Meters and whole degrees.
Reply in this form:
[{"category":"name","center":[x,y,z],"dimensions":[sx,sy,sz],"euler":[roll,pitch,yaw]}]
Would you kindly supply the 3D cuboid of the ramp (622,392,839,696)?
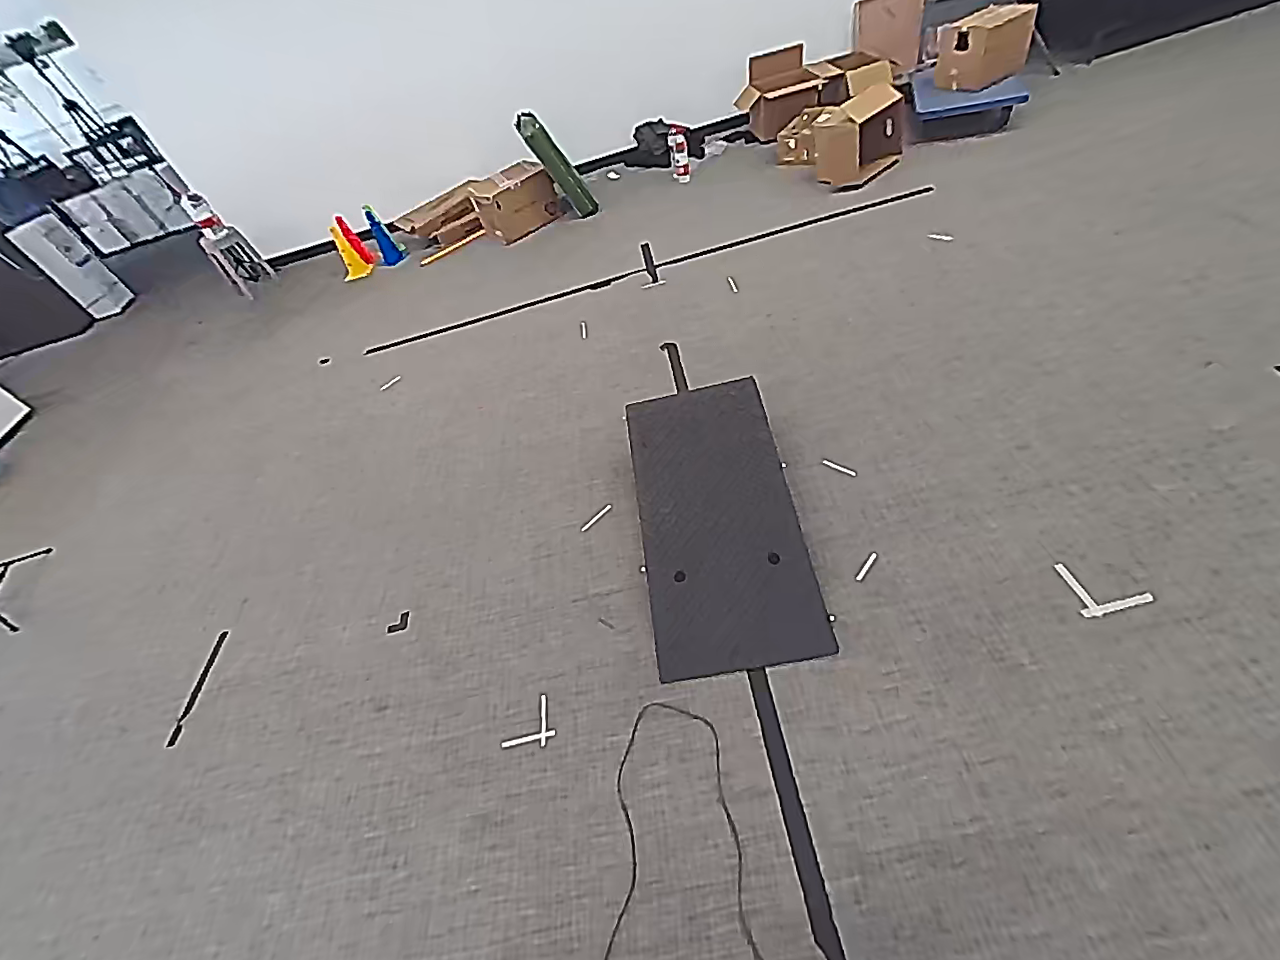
[{"category":"ramp","center":[0.239,0.138,1.750],"dimensions":[0.509,0.206,0.991],"euler":[-14,45,4]}]
